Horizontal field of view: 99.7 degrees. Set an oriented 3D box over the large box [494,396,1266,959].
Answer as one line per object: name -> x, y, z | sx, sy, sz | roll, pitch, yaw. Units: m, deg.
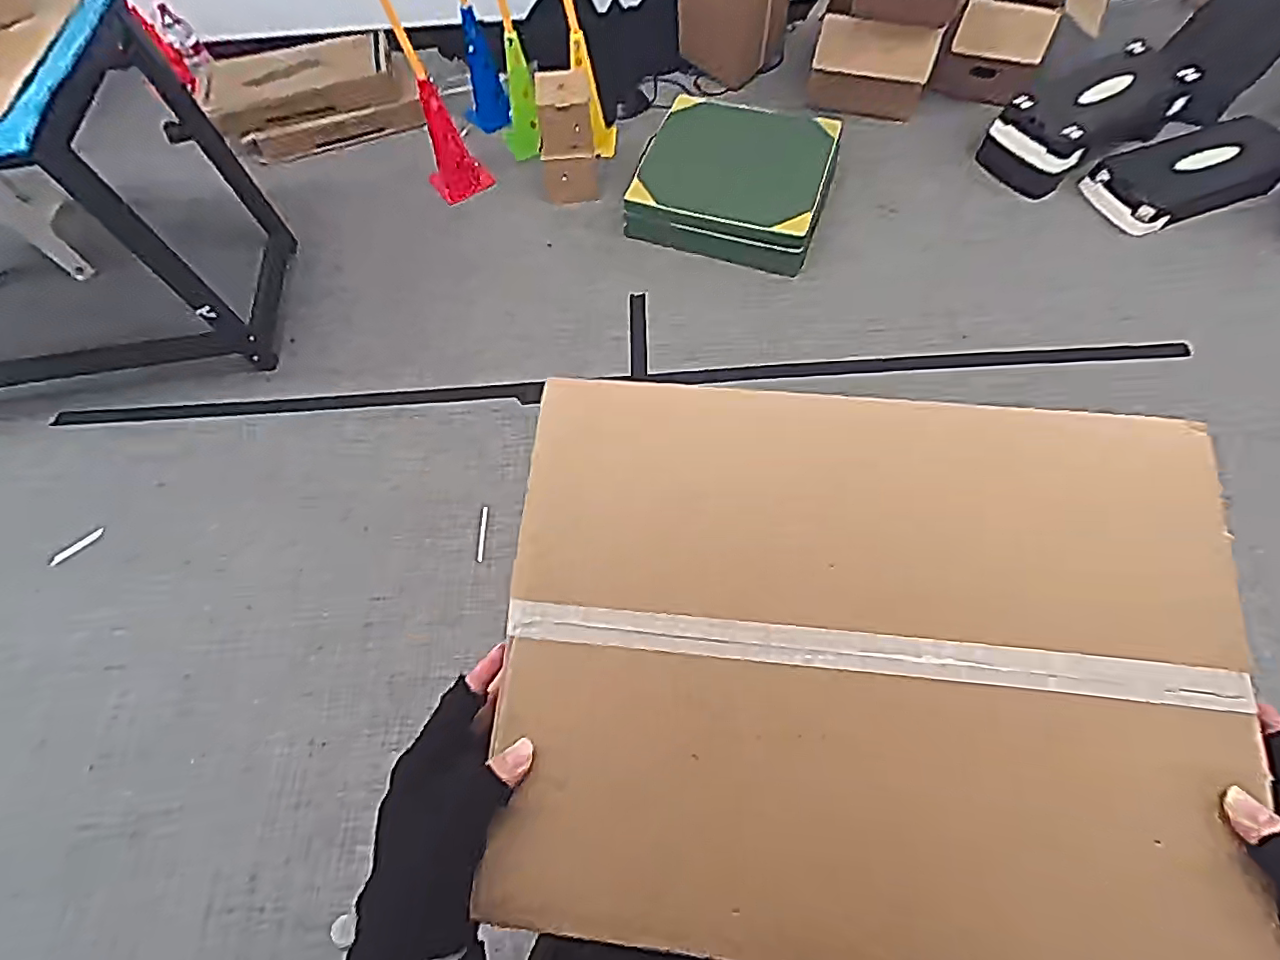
large box -> 0.136, 0.140, 0.461 | 0.408, 0.320, 0.320 | 5, 77, 5
